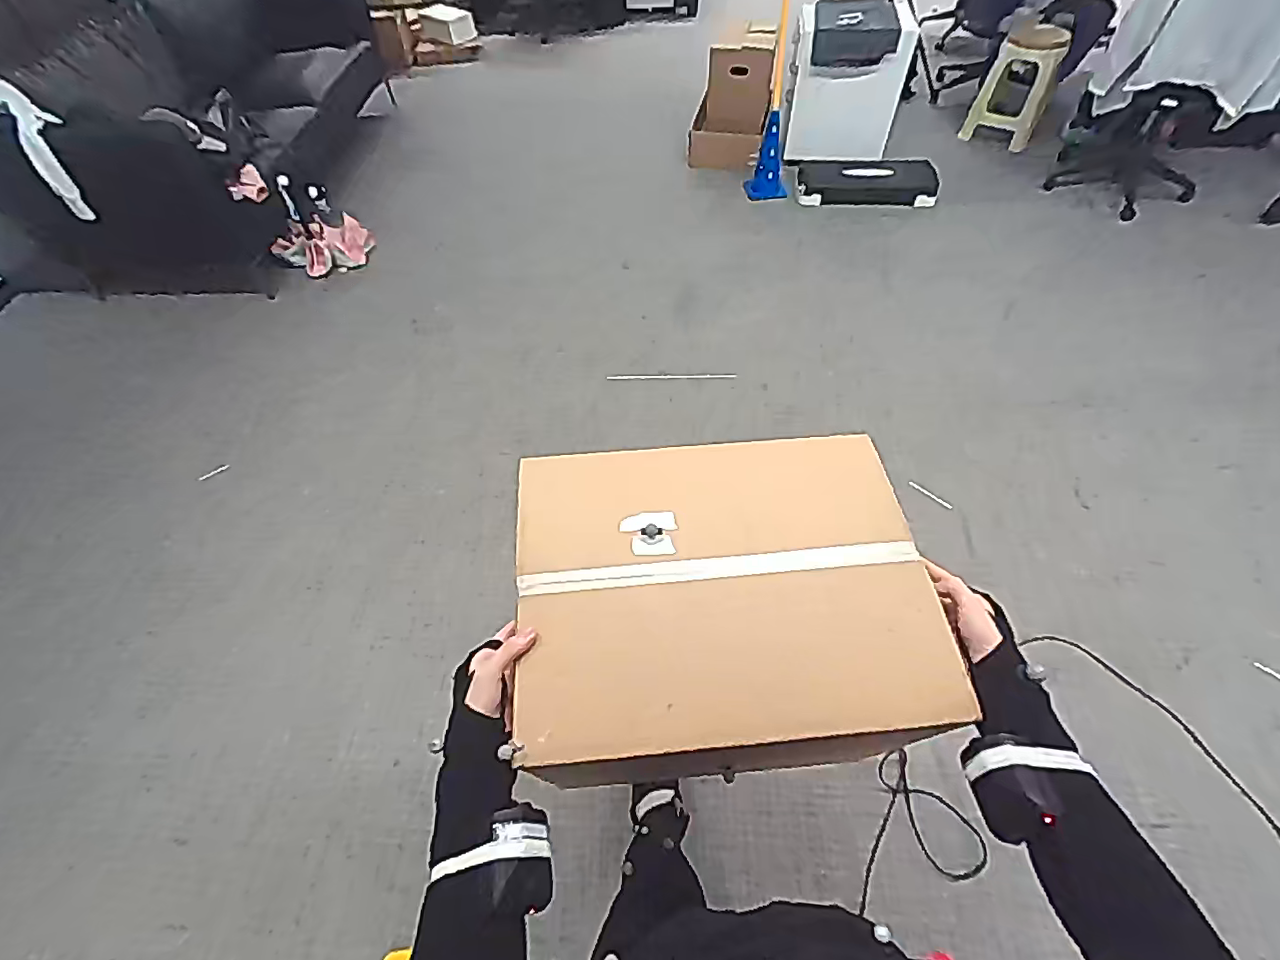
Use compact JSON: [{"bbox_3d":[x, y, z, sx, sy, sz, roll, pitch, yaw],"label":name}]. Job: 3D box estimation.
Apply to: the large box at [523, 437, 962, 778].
[{"bbox_3d":[0.085,0.174,0.682,0.408,0.320,0.320,-5,57,-2],"label":"large box"}]
